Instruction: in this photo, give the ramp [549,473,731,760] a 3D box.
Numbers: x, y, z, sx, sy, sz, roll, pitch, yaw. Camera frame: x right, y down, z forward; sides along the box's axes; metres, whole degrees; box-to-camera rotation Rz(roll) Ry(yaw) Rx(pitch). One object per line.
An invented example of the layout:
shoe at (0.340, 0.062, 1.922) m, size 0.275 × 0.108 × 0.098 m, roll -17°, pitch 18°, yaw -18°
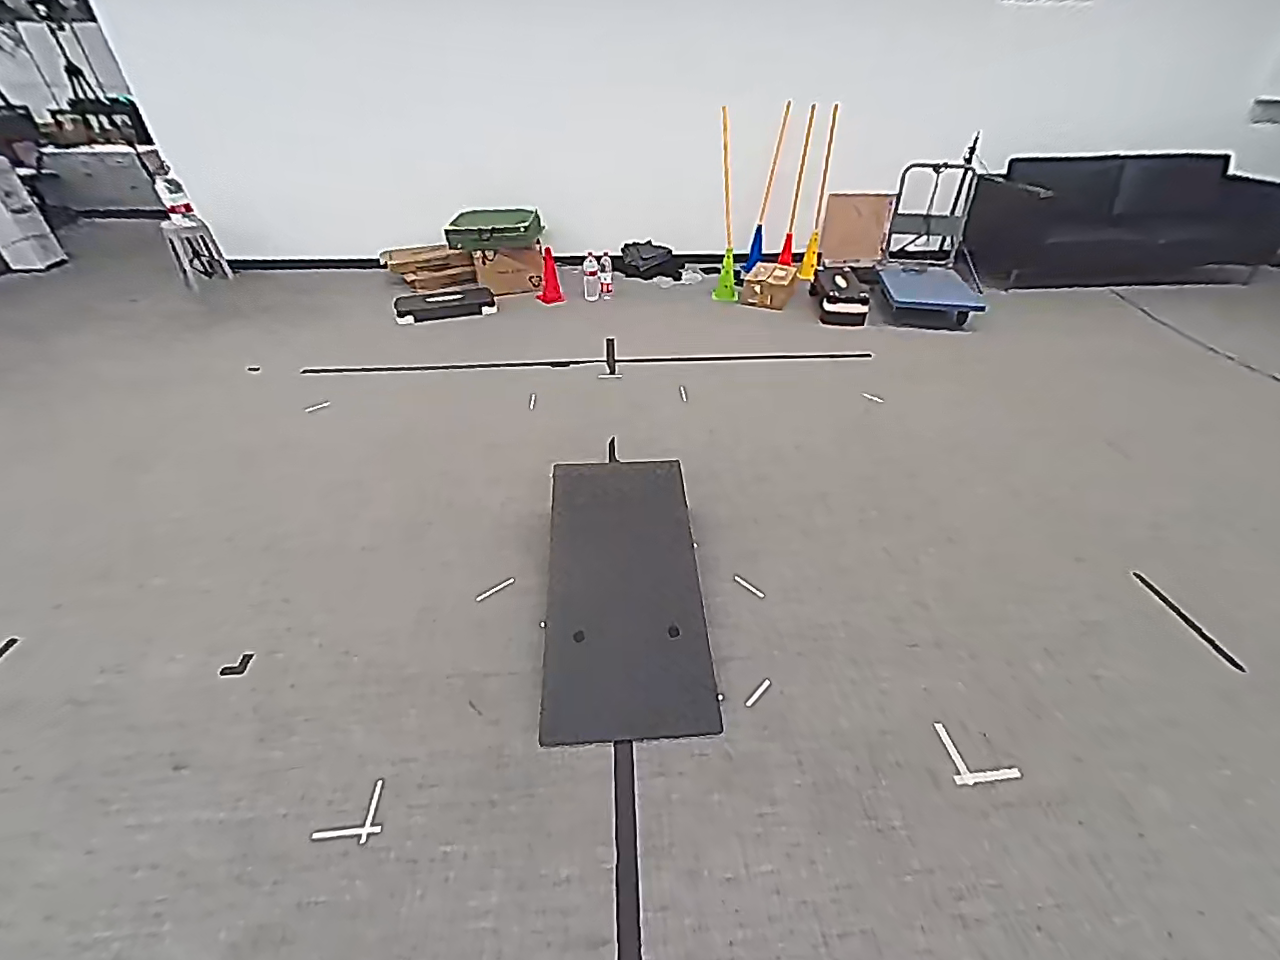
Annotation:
ramp at (-0.034, 0.352, 1.756) m, size 0.509 × 0.206 × 0.991 m, roll -3°, pitch 37°, yaw -6°
